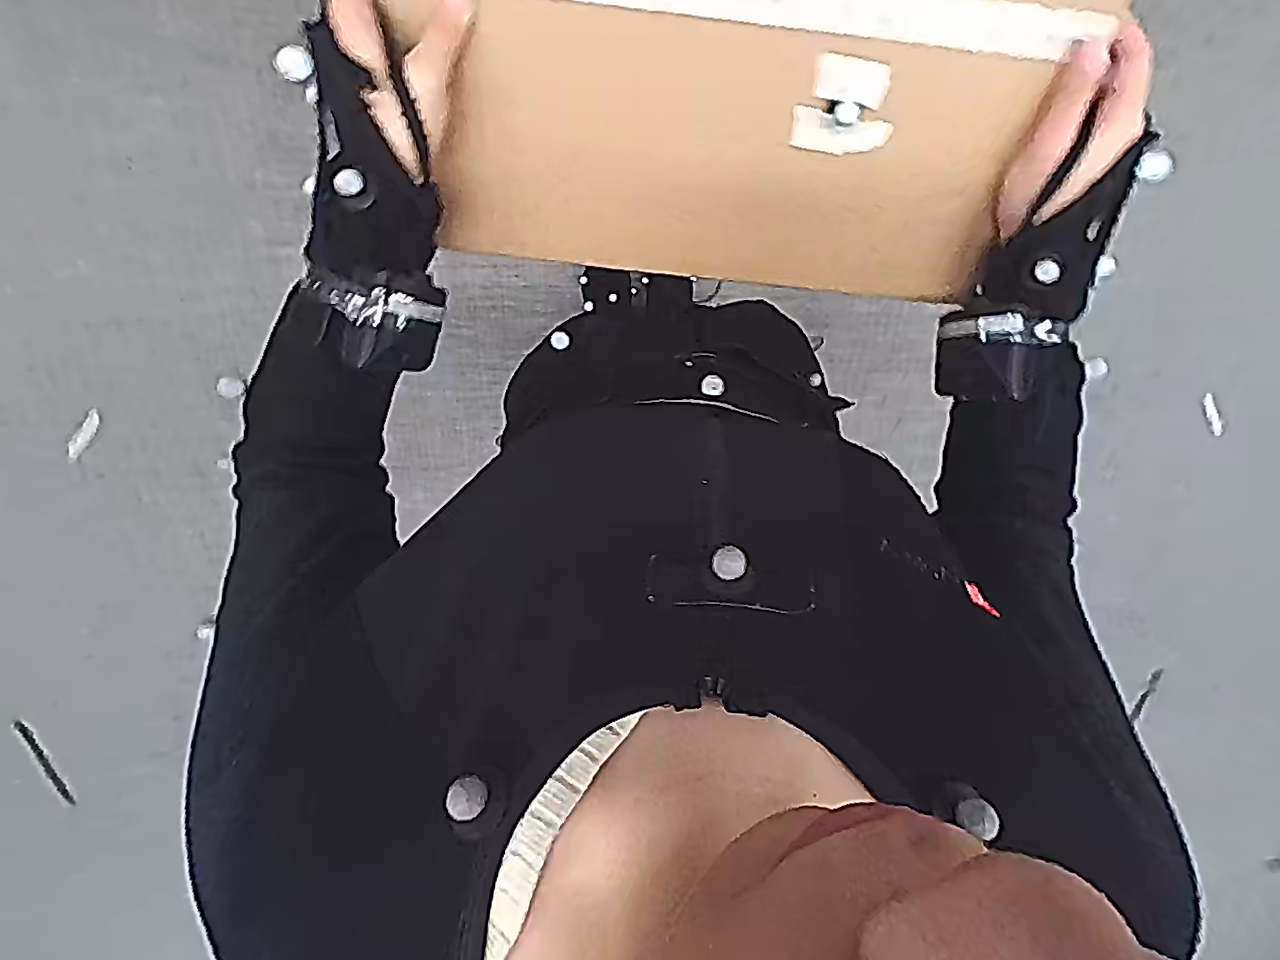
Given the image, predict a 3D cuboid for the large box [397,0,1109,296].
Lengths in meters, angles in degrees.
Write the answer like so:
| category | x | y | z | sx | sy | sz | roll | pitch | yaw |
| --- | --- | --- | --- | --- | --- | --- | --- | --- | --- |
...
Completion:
| category | x | y | z | sx | sy | sz | roll | pitch | yaw |
| --- | --- | --- | --- | --- | --- | --- | --- | --- | --- |
| large box | 0.060 | -0.366 | 0.415 | 0.408 | 0.320 | 0.320 | 4 | 134 | -4 |
